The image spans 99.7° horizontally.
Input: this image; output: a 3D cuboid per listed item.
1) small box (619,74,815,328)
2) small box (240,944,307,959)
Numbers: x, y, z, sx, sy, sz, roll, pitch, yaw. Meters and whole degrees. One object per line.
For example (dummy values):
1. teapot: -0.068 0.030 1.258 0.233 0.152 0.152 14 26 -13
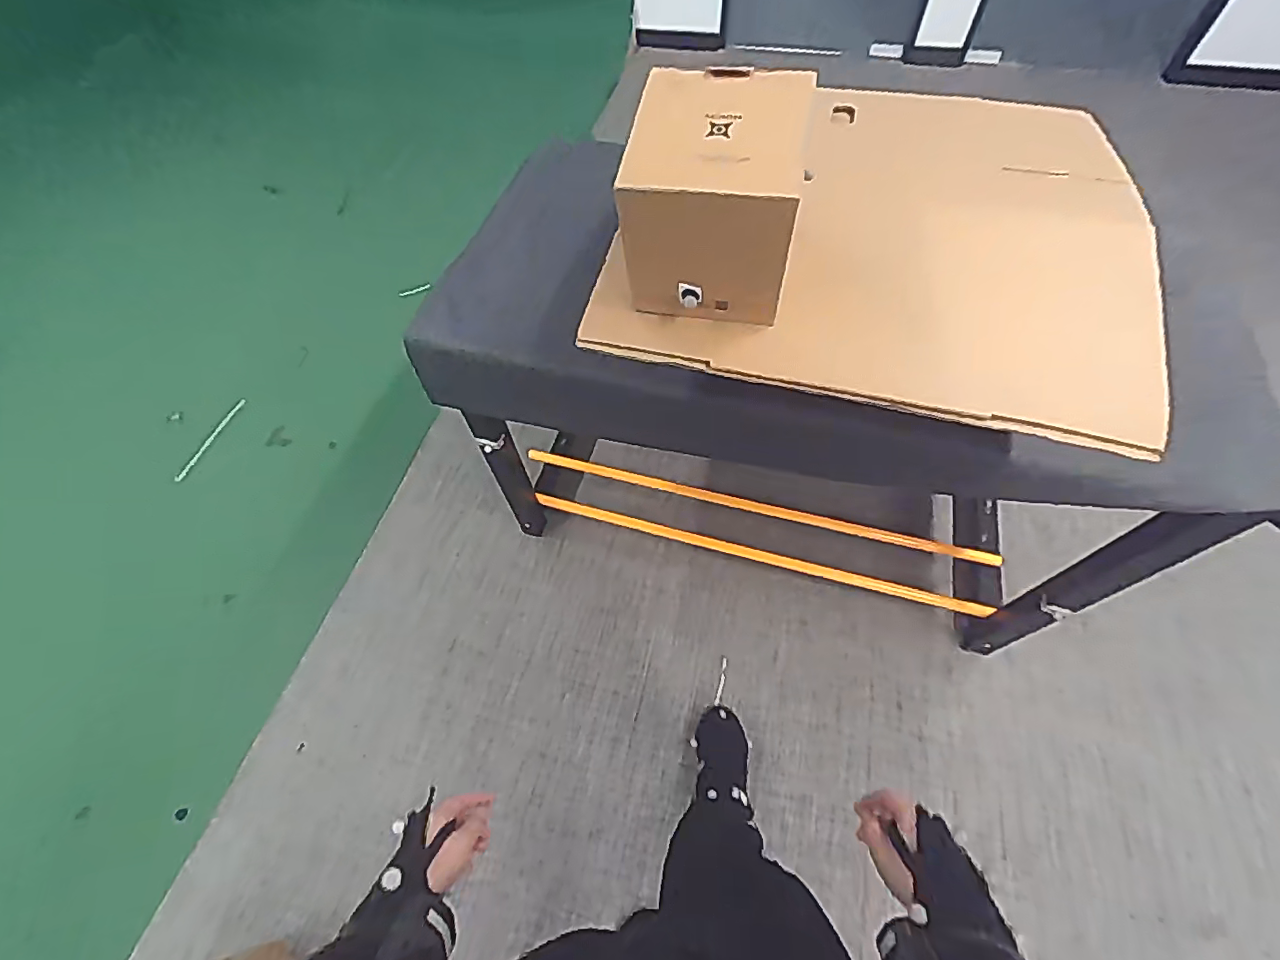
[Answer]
1. small box: 0.082 -0.292 0.580 0.168 0.176 0.179 7 68 10
2. small box: -0.650 0.933 0.914 0.168 0.176 0.179 14 61 11
